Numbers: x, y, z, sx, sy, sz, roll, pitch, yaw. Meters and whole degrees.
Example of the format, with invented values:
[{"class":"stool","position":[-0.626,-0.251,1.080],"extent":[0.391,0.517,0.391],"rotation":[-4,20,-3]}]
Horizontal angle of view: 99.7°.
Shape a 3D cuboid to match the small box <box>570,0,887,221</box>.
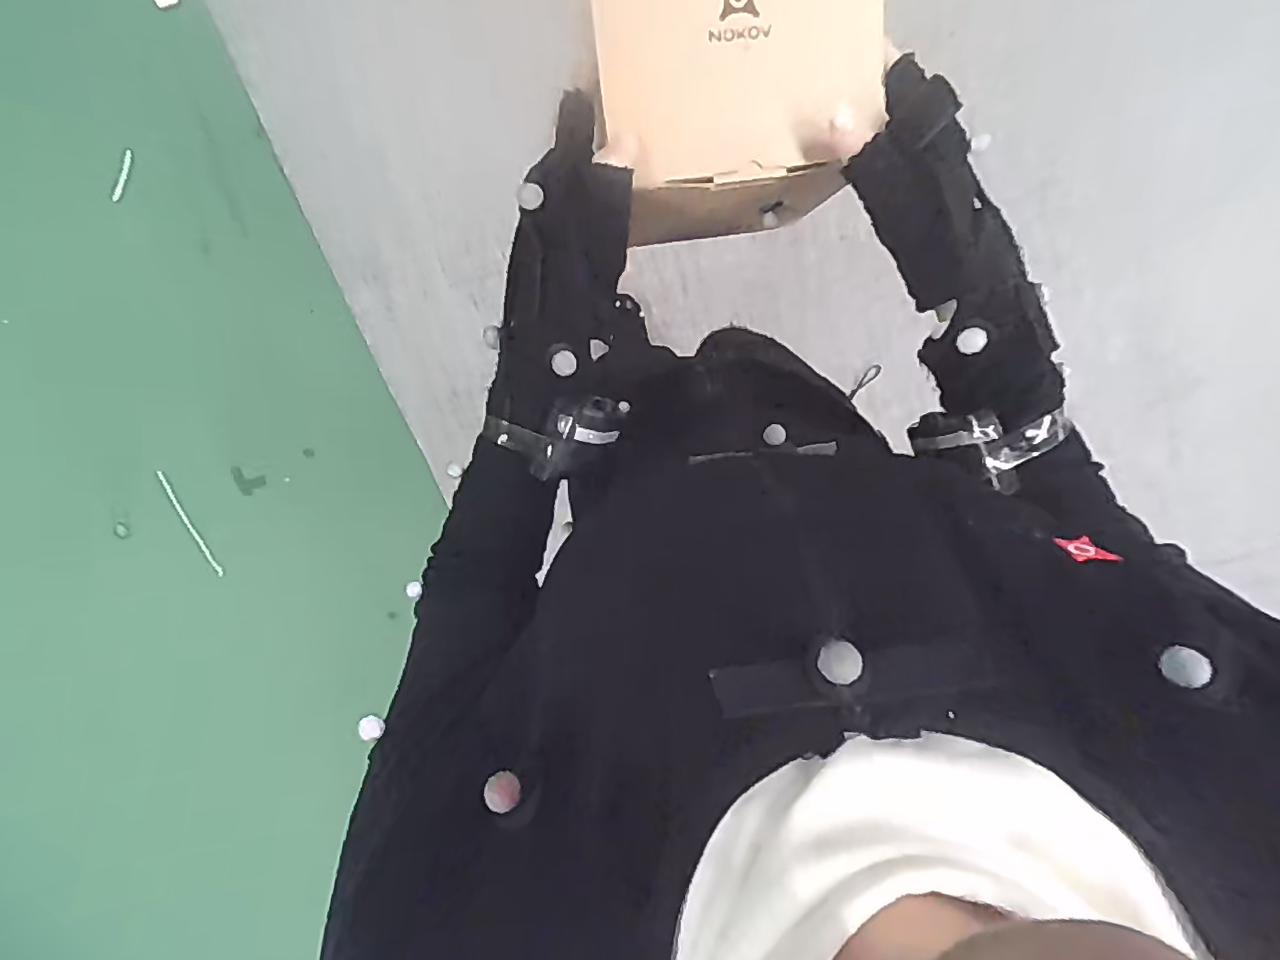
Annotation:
[{"class":"small box","position":[0.044,-0.289,0.366],"extent":[0.168,0.176,0.179],"rotation":[-11,105,-1]}]
